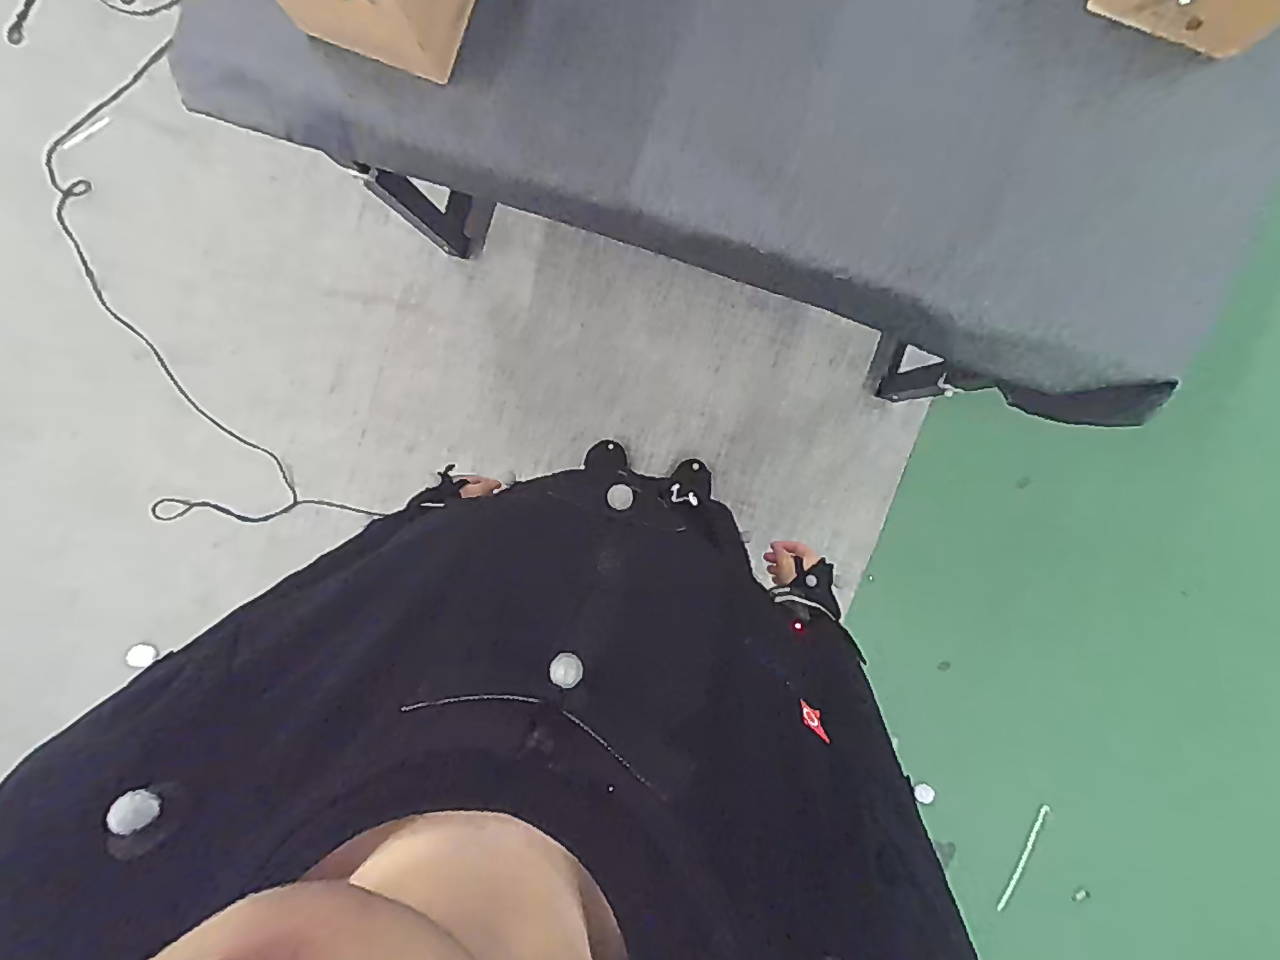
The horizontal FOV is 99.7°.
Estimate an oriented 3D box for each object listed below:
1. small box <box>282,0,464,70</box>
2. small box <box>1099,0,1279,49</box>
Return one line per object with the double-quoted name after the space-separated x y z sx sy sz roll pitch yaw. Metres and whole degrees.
-0.271 -0.546 0.518 0.179 0.176 0.168 21 93 0 "small box"
0.578 -0.556 0.488 0.168 0.176 0.179 21 98 0 "small box"
